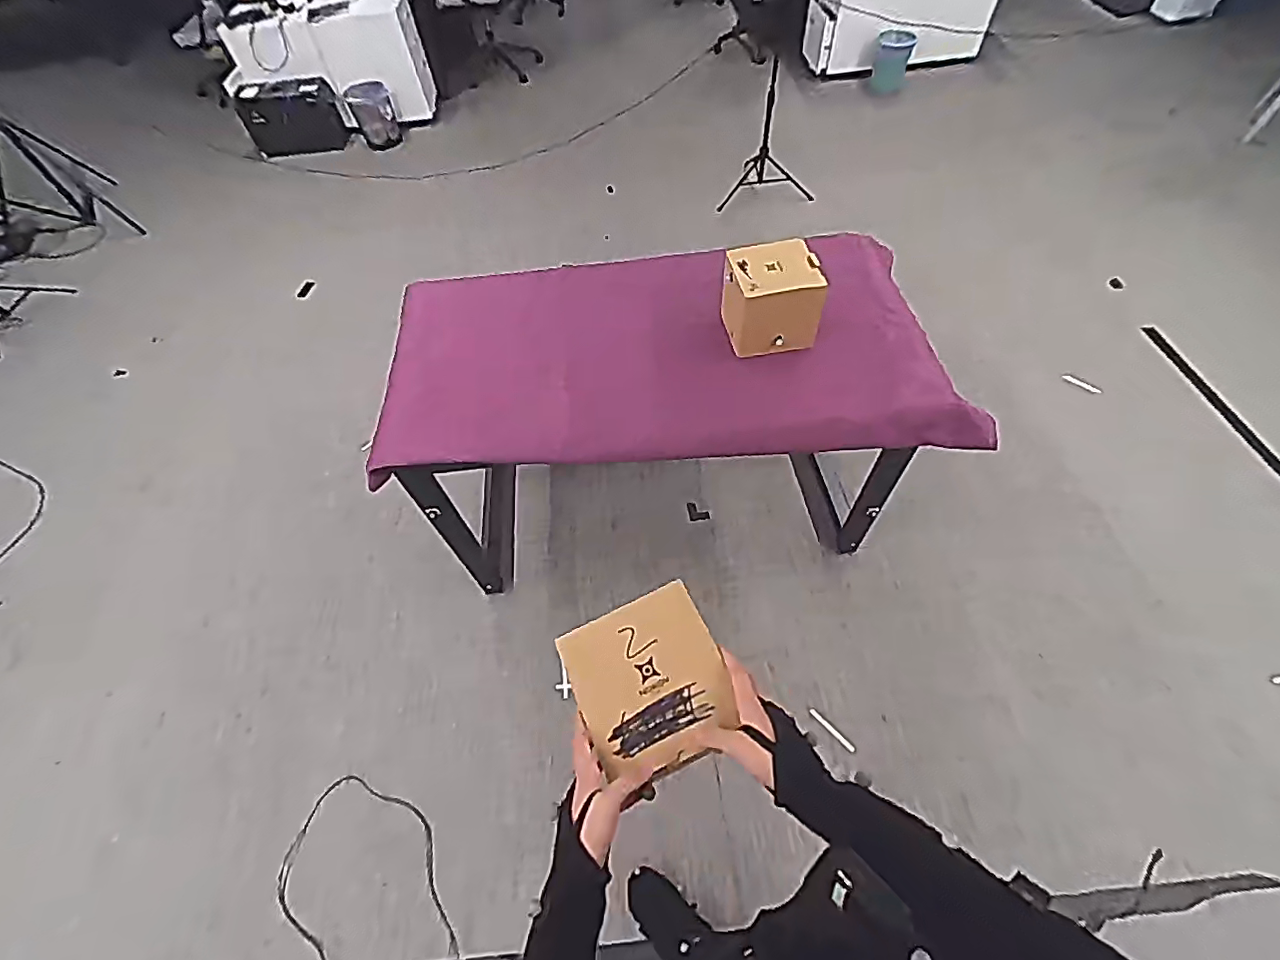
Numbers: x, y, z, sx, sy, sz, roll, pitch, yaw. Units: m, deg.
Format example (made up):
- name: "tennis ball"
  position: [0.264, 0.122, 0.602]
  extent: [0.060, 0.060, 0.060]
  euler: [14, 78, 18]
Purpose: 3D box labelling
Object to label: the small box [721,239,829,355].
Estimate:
- name: "small box"
  position: [0.286, -0.398, 1.189]
  extent: [0.179, 0.176, 0.168]
  euler: [-9, 56, -3]
